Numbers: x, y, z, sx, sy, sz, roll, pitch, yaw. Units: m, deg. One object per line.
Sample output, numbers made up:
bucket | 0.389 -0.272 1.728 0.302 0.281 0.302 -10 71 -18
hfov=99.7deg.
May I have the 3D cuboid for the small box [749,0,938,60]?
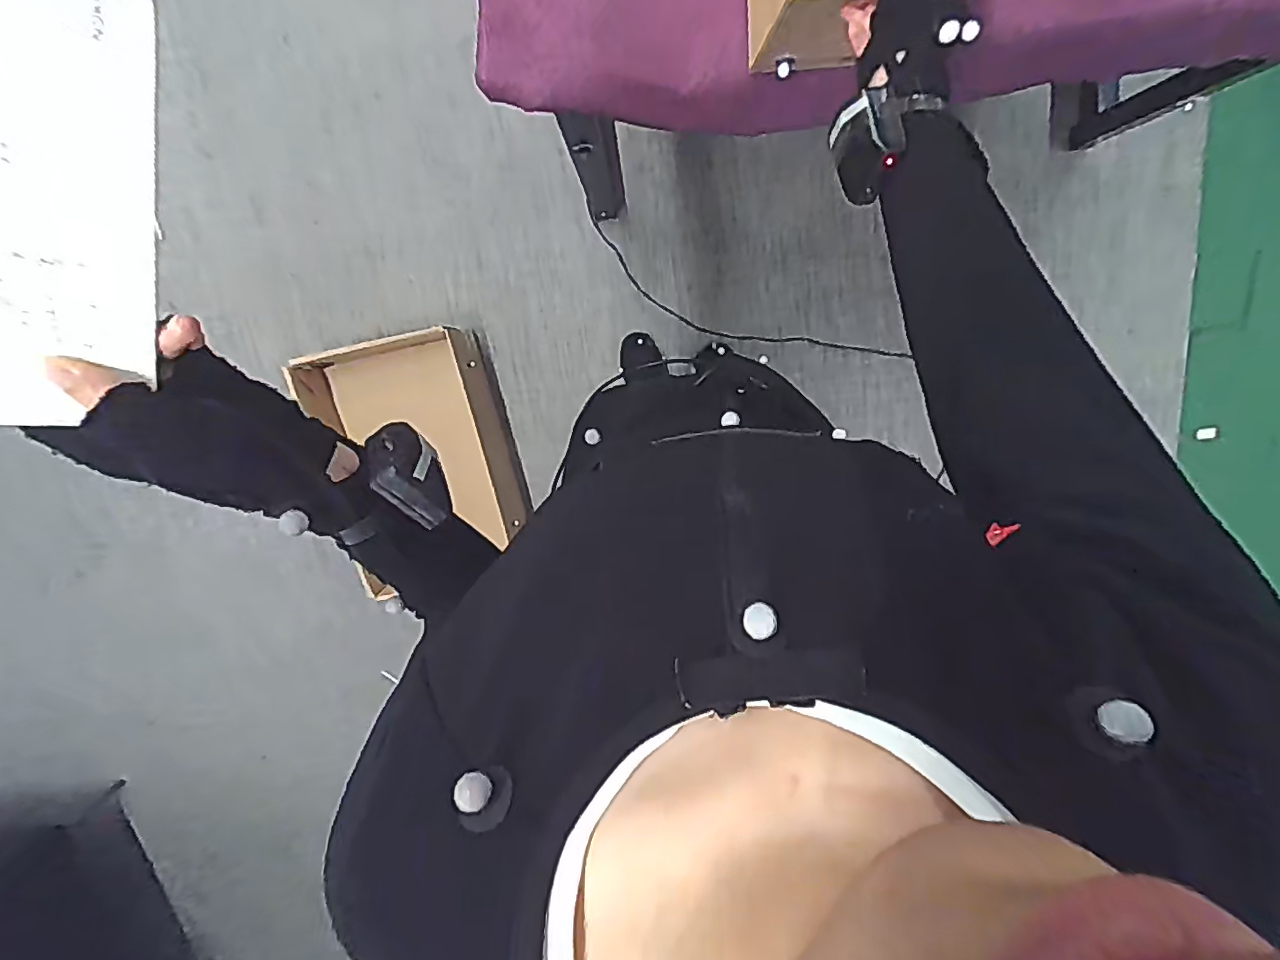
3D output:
small box | 0.200 -0.525 0.505 0.168 0.176 0.179 -4 107 0
